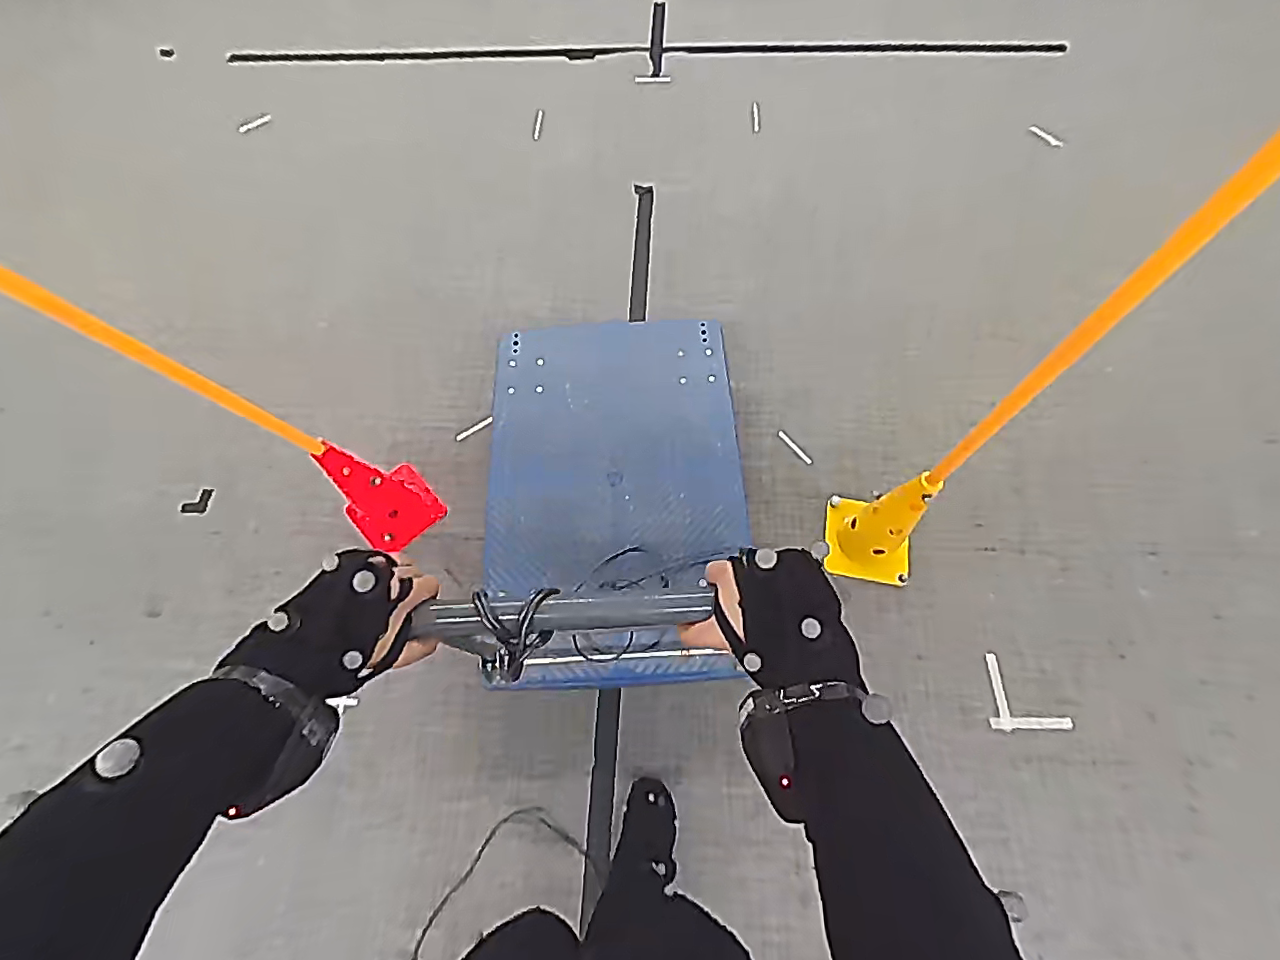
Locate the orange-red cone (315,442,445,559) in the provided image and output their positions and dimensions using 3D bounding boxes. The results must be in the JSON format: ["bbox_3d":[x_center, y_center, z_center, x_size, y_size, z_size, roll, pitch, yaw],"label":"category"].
[{"bbox_3d":[-0.626,0.010,1.230,0.199,0.360,0.198,-39,72,-16],"label":"orange-red cone"}]
